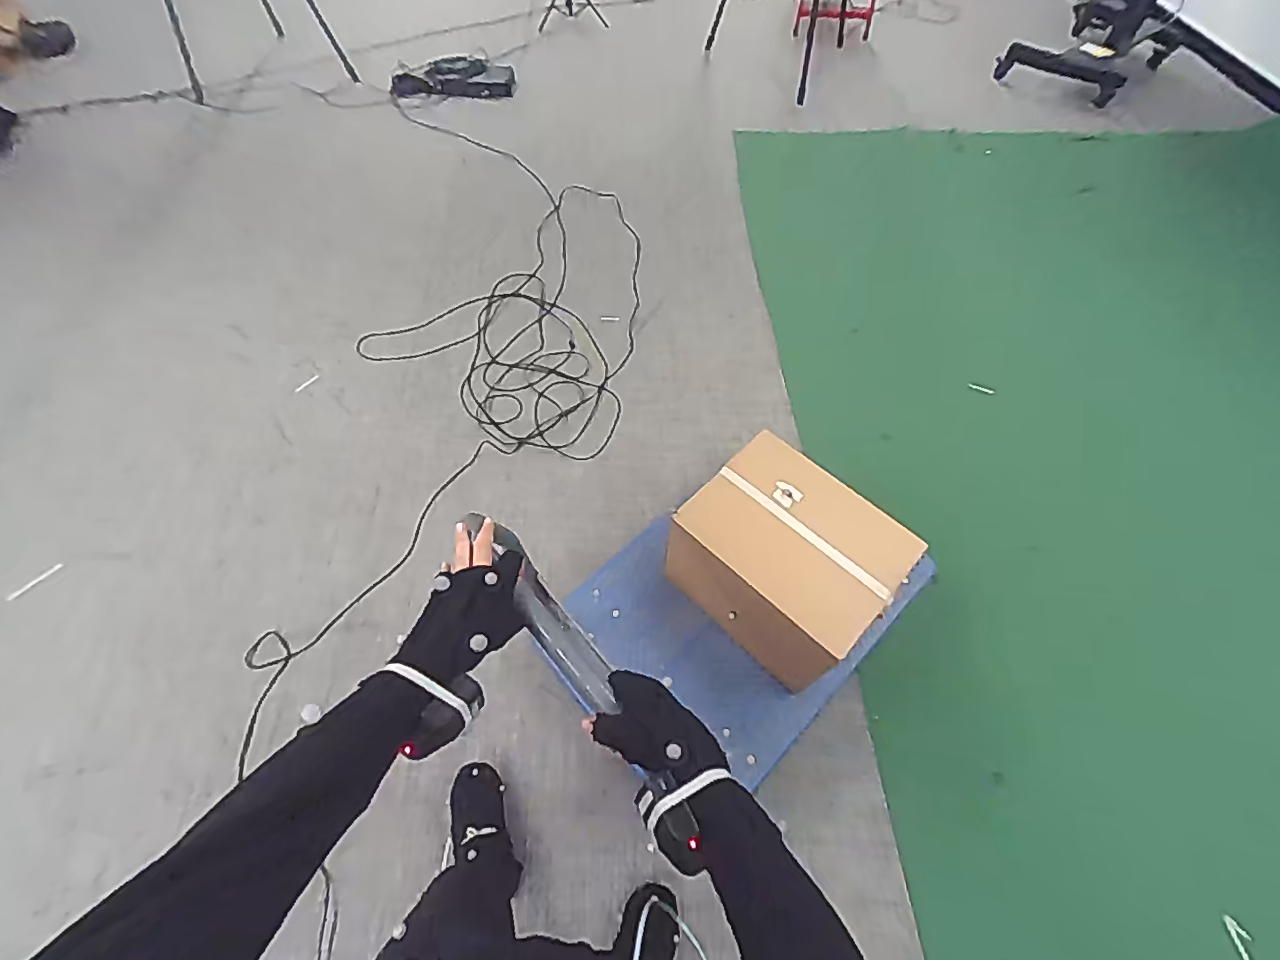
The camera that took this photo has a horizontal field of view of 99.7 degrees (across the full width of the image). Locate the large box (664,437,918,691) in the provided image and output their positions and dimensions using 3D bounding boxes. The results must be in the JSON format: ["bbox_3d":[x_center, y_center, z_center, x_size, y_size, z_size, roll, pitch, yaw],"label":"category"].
[{"bbox_3d":[0.303,0.188,1.198,0.408,0.320,0.320,40,65,22],"label":"large box"}]
